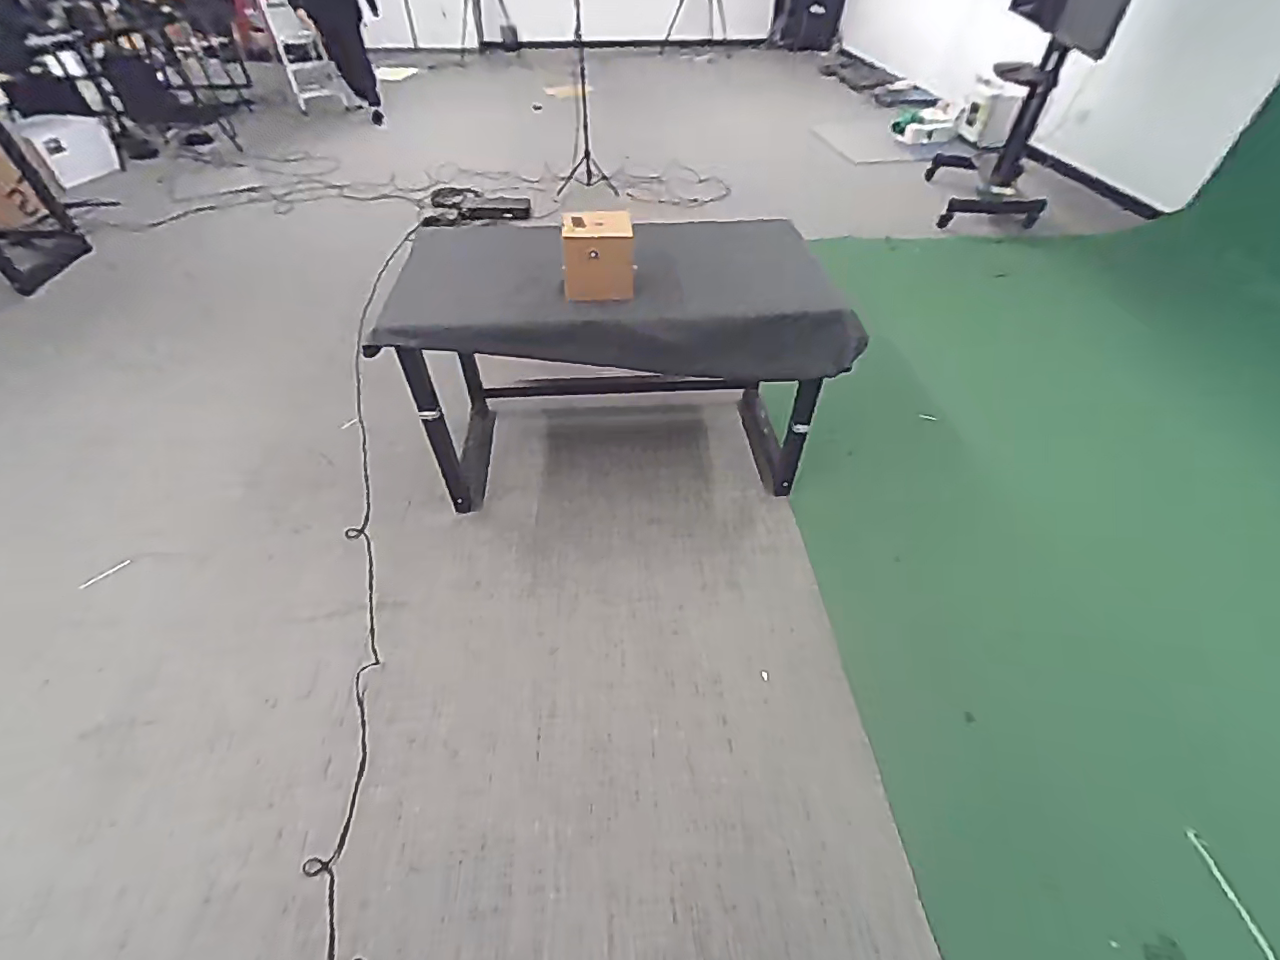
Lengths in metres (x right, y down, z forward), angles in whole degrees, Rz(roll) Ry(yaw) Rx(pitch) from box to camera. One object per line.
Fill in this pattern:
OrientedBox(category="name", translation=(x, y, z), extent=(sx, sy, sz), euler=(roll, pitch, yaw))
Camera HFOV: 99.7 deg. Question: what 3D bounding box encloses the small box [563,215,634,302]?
OrientedBox(category="small box", translation=(-0.106, -0.586, 1.434), extent=(0.179, 0.176, 0.168), euler=(-3, 46, -4))
